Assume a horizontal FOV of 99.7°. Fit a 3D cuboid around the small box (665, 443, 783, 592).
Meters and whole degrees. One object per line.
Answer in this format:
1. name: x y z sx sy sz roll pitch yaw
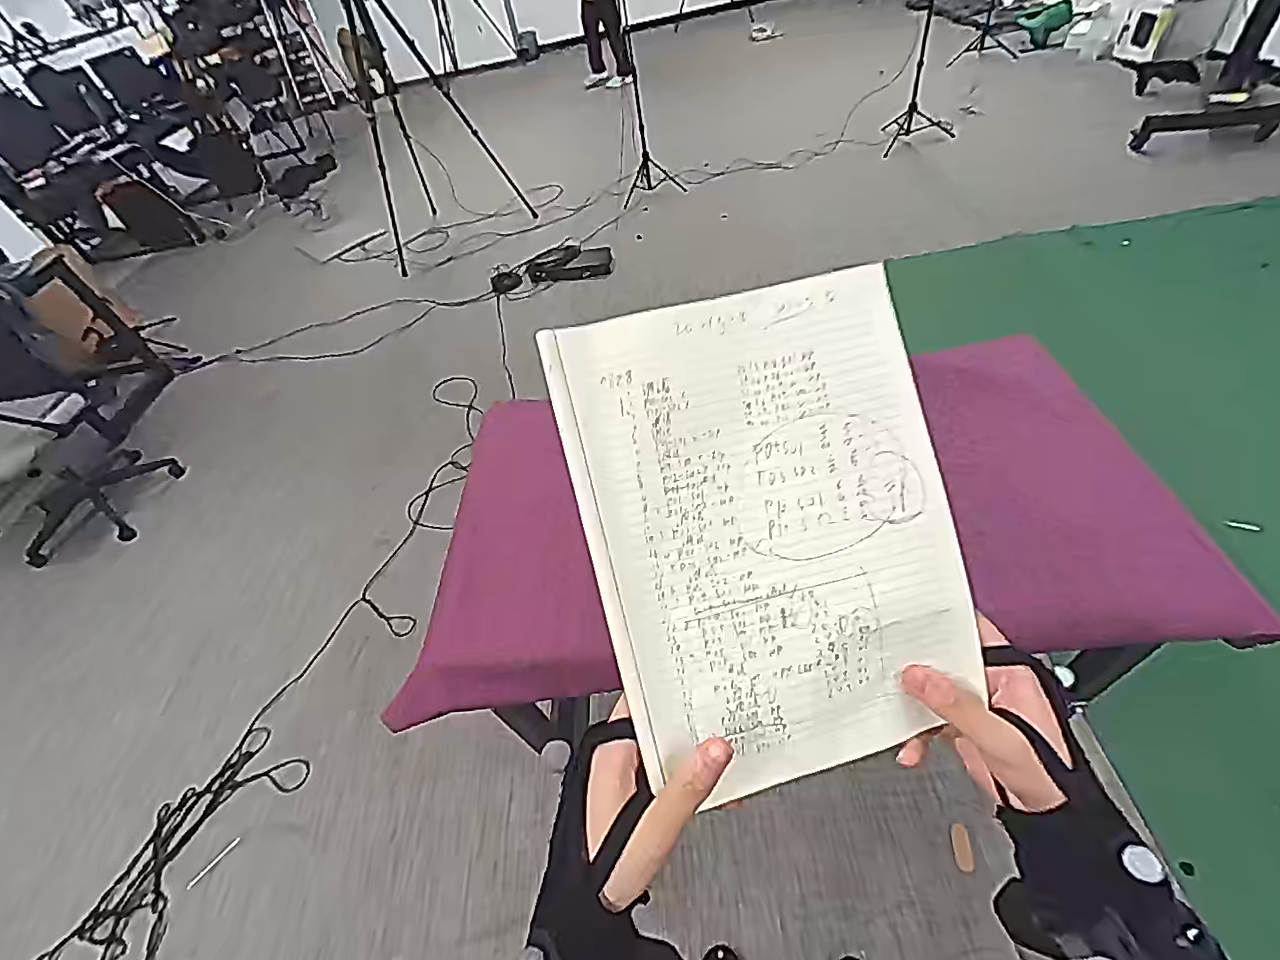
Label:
1. small box: 0.133 0.067 0.868 0.168 0.176 0.179 -6 48 6
